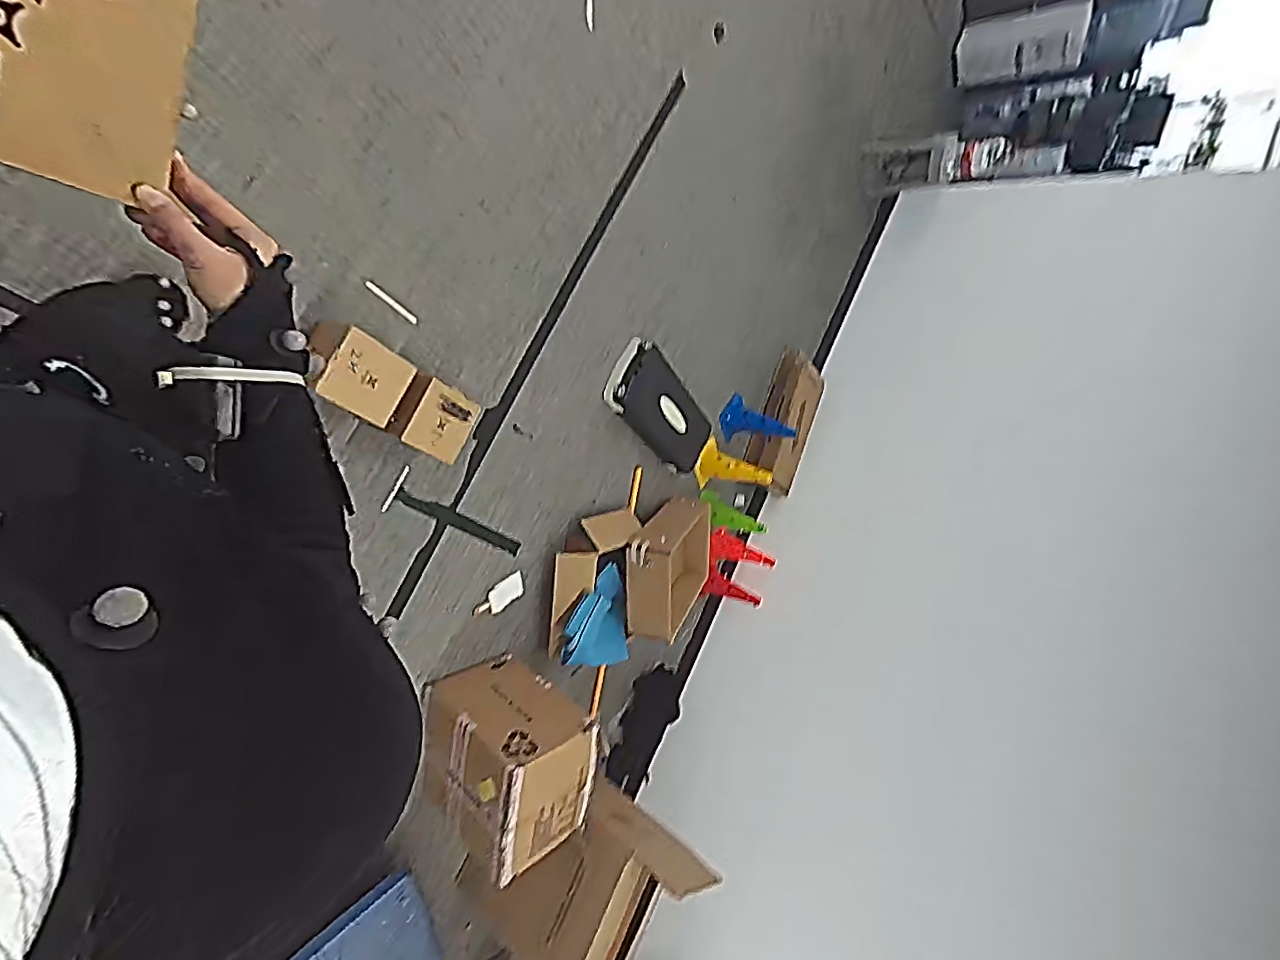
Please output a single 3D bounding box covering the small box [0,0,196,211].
[{"bbox_3d":[-0.411,-0.304,0.347,0.168,0.176,0.179,5,111,-48],"label":"small box"}]
